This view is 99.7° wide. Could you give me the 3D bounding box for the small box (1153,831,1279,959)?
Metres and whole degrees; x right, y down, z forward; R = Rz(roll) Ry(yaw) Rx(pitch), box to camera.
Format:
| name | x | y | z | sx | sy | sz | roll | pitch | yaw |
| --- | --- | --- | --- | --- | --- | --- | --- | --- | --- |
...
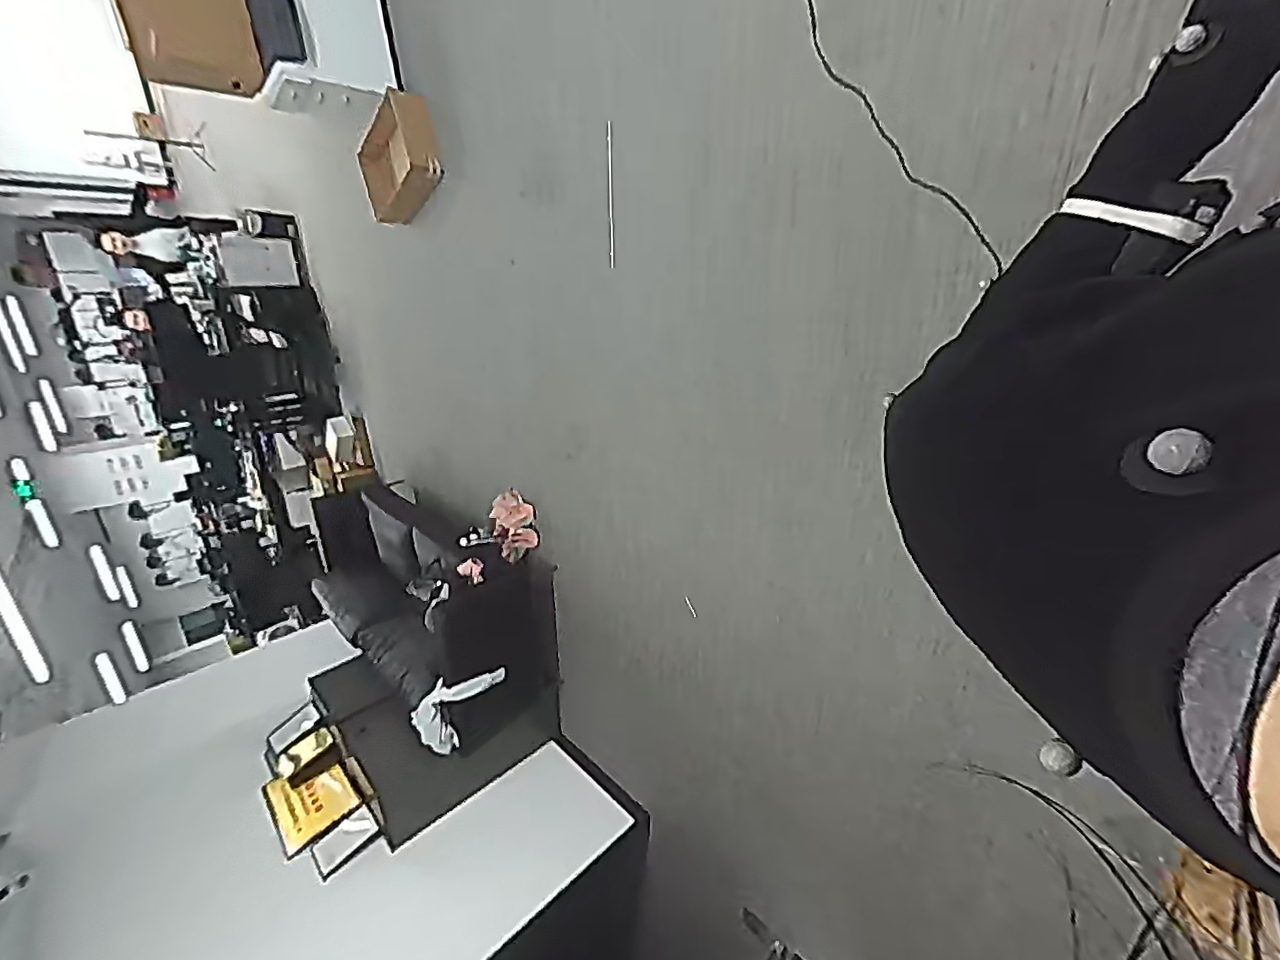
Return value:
| name | x | y | z | sx | sy | sz | roll | pitch | yaw |
| --- | --- | --- | --- | --- | --- | --- | --- | --- | --- |
| small box | 1.247 | 0.901 | 1.157 | 0.179 | 0.176 | 0.168 | 19 | 117 | 42 |
